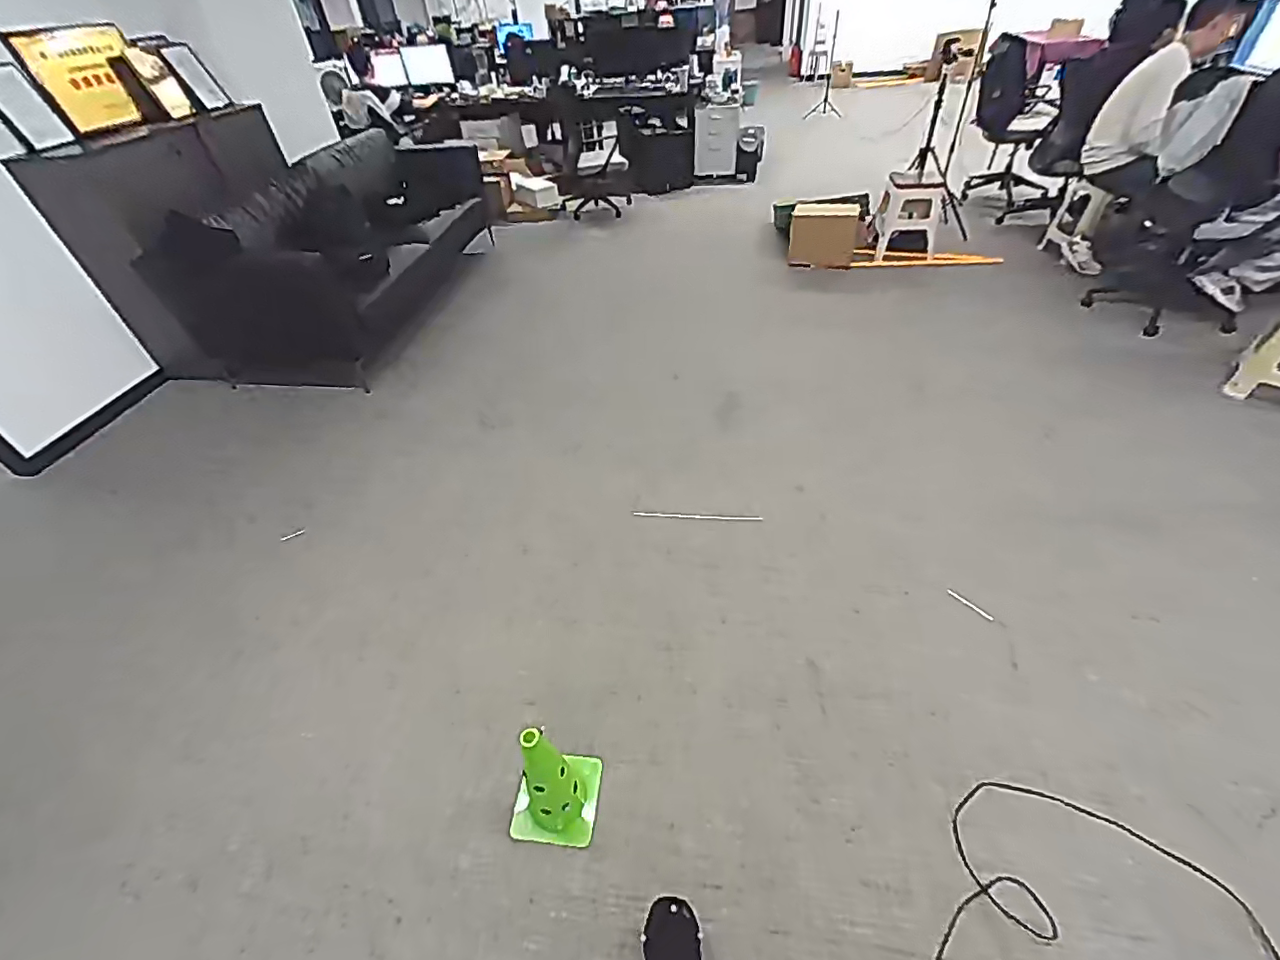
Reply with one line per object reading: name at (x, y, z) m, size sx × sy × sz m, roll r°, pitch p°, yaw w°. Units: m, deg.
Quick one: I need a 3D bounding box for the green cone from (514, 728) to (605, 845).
green cone at (-0.206, 0.663, 1.232) m, size 0.202 × 0.368 × 0.200 m, roll 2°, pitch 44°, yaw 7°
